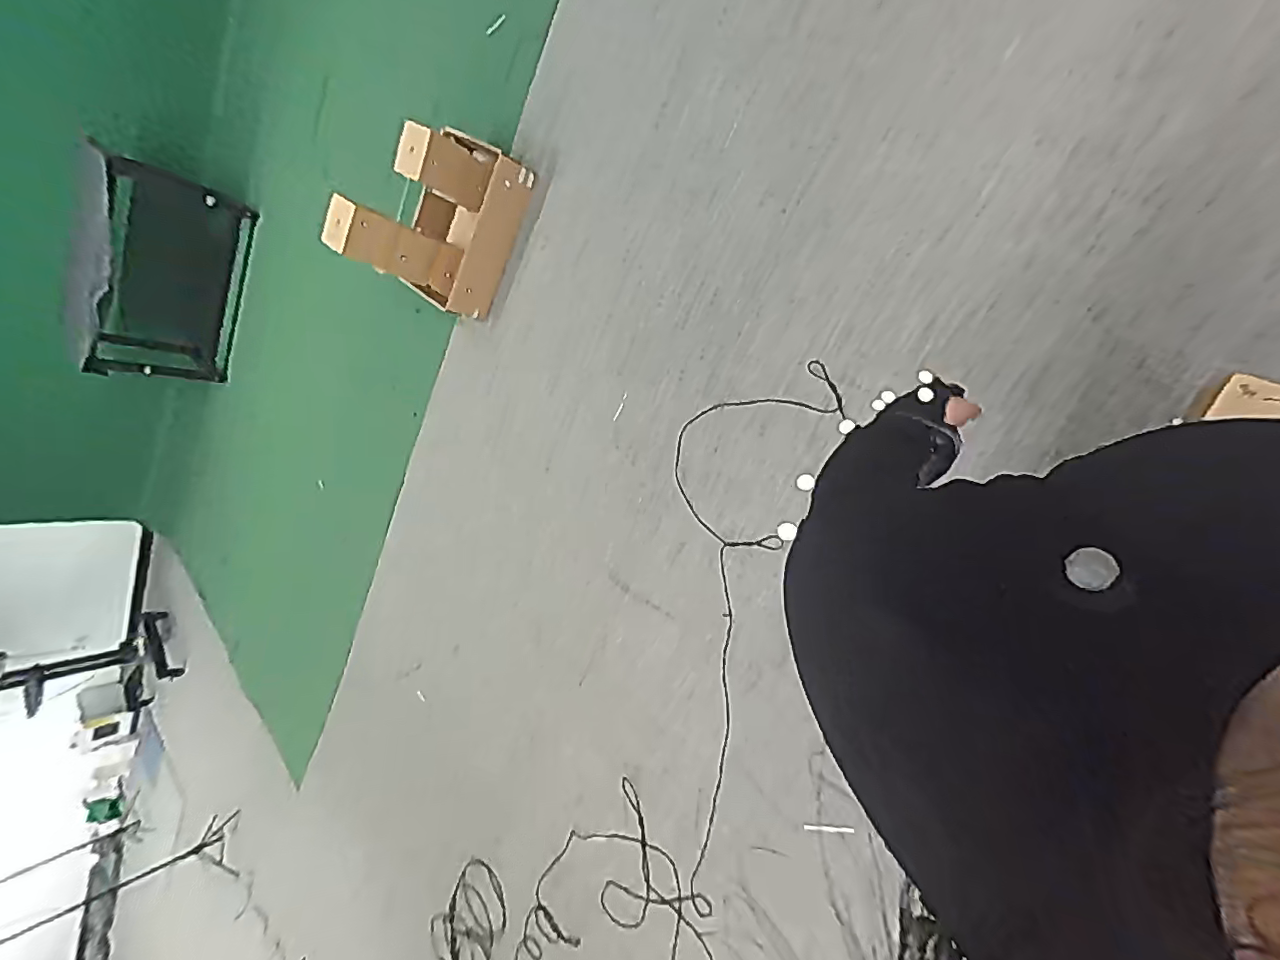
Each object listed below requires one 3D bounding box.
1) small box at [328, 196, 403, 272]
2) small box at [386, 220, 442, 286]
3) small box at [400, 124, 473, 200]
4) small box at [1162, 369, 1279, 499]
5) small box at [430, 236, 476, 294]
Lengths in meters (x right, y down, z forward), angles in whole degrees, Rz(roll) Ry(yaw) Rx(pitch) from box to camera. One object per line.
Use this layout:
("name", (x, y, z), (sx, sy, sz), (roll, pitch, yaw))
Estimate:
("small box", (-0.980, -0.880, 1.942), (0.168, 0.176, 0.179), (36, 110, 28))
("small box", (-0.894, -0.873, 2.084), (0.168, 0.176, 0.179), (37, 109, 27))
("small box", (-0.739, -1.153, 1.973), (0.168, 0.176, 0.179), (34, 110, 27))
("small box", (1.107, -0.081, 0.985), (0.168, 0.176, 0.179), (32, 109, 29))
("small box", (-0.807, -0.885, 2.223), (0.179, 0.176, 0.168), (36, 109, 28))
